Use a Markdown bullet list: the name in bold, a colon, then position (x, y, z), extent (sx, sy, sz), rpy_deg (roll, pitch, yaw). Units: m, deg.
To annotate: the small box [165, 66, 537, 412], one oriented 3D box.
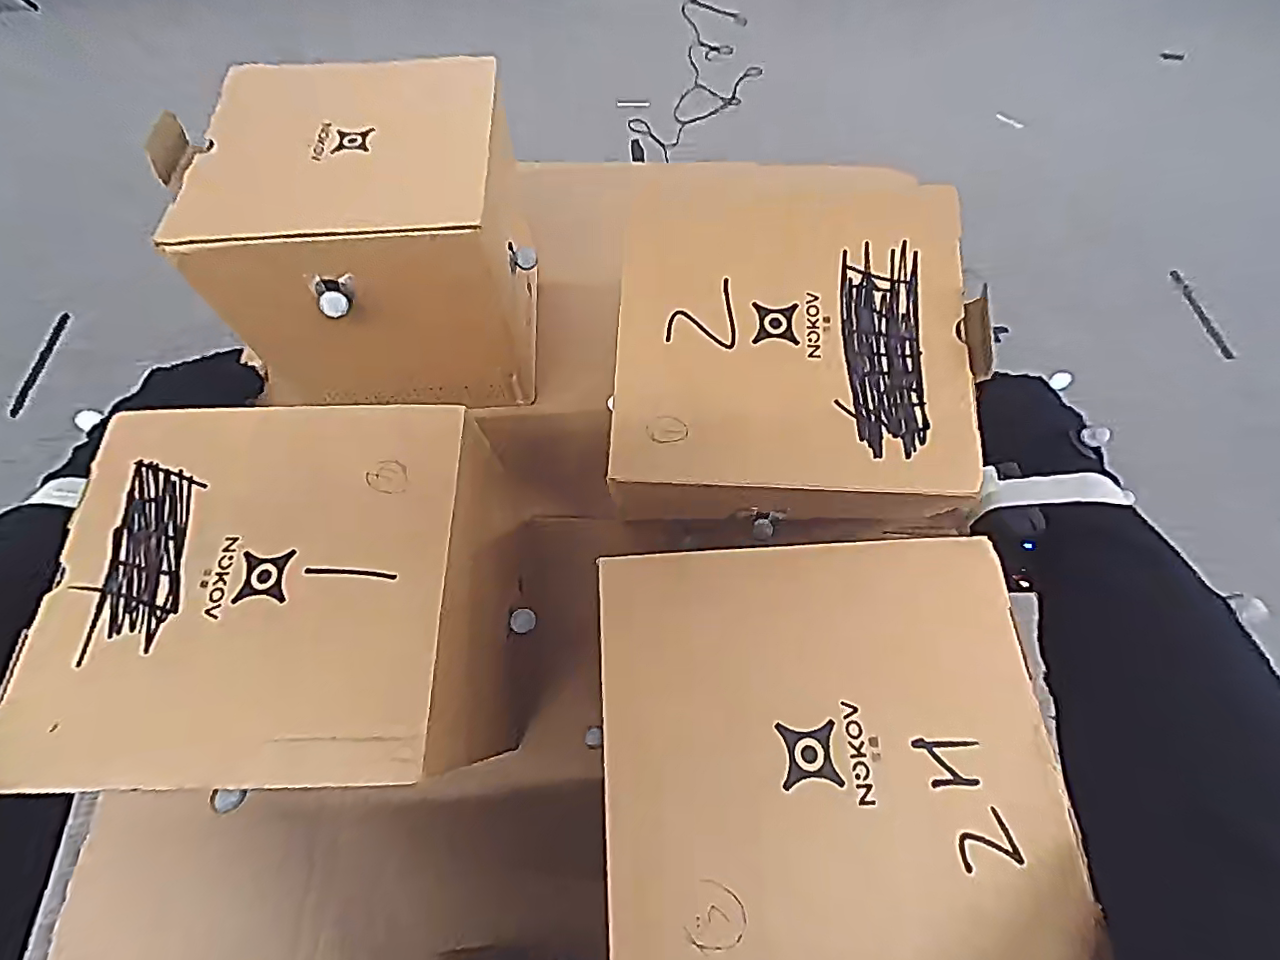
- **small box**: position (-0.177, -0.165, 0.401), extent (0.179, 0.176, 0.168), rpy_deg (-4, 63, 0)
